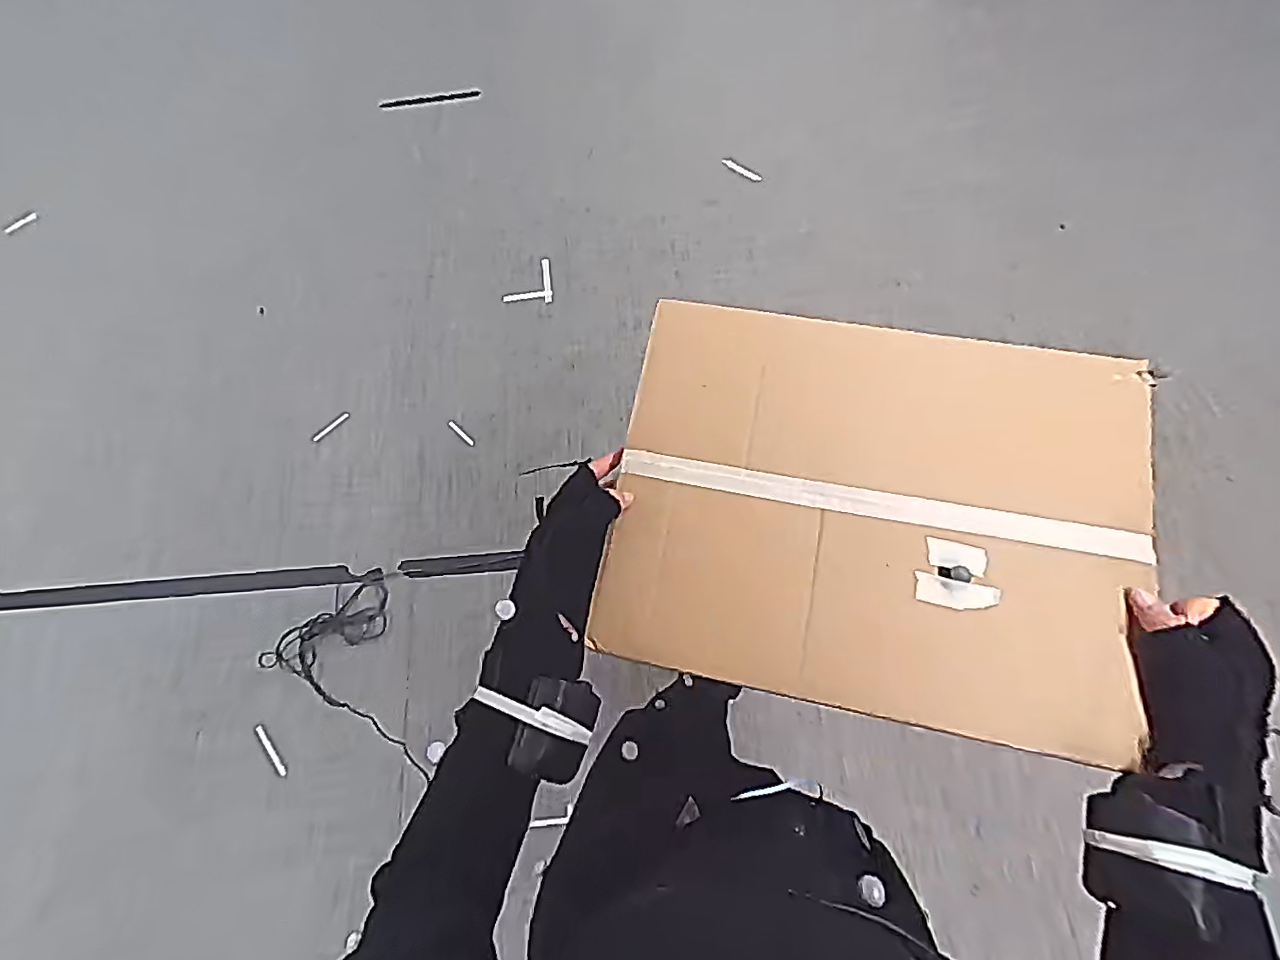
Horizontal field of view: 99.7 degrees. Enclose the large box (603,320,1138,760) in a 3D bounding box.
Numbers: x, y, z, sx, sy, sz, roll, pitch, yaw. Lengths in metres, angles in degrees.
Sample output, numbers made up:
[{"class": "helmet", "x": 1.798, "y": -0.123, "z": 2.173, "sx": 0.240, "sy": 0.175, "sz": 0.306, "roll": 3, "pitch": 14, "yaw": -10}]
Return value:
[{"class": "large box", "x": 0.202, "y": 0.062, "z": 0.590, "sx": 0.408, "sy": 0.320, "sz": 0.320, "roll": 10, "pitch": 78, "yaw": 8}]
